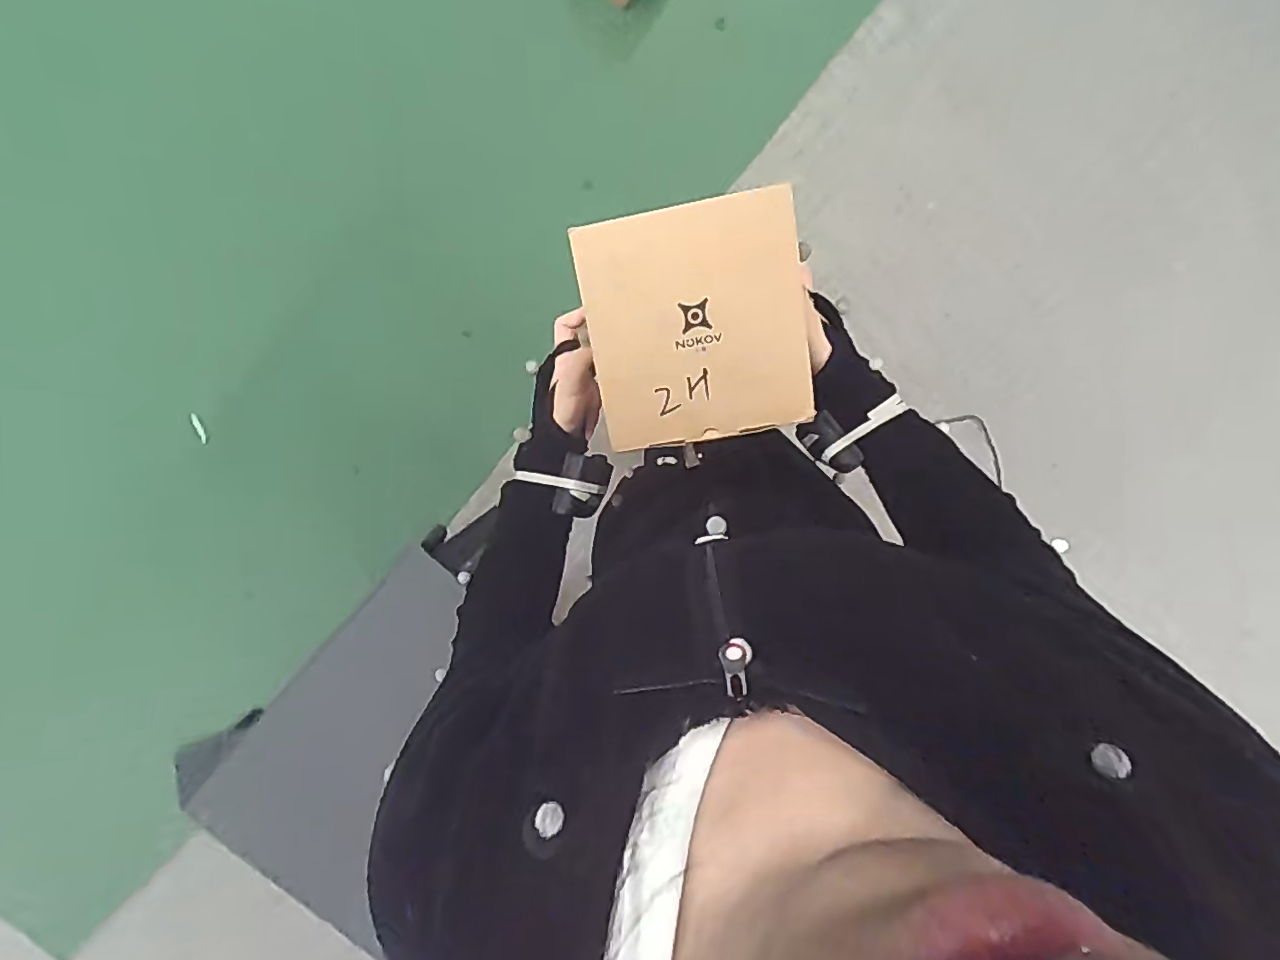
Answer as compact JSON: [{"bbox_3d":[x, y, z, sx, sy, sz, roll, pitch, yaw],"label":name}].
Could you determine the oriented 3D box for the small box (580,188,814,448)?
[{"bbox_3d":[0.053,-0.138,0.496,0.168,0.176,0.179,-8,104,9],"label":"small box"}]
